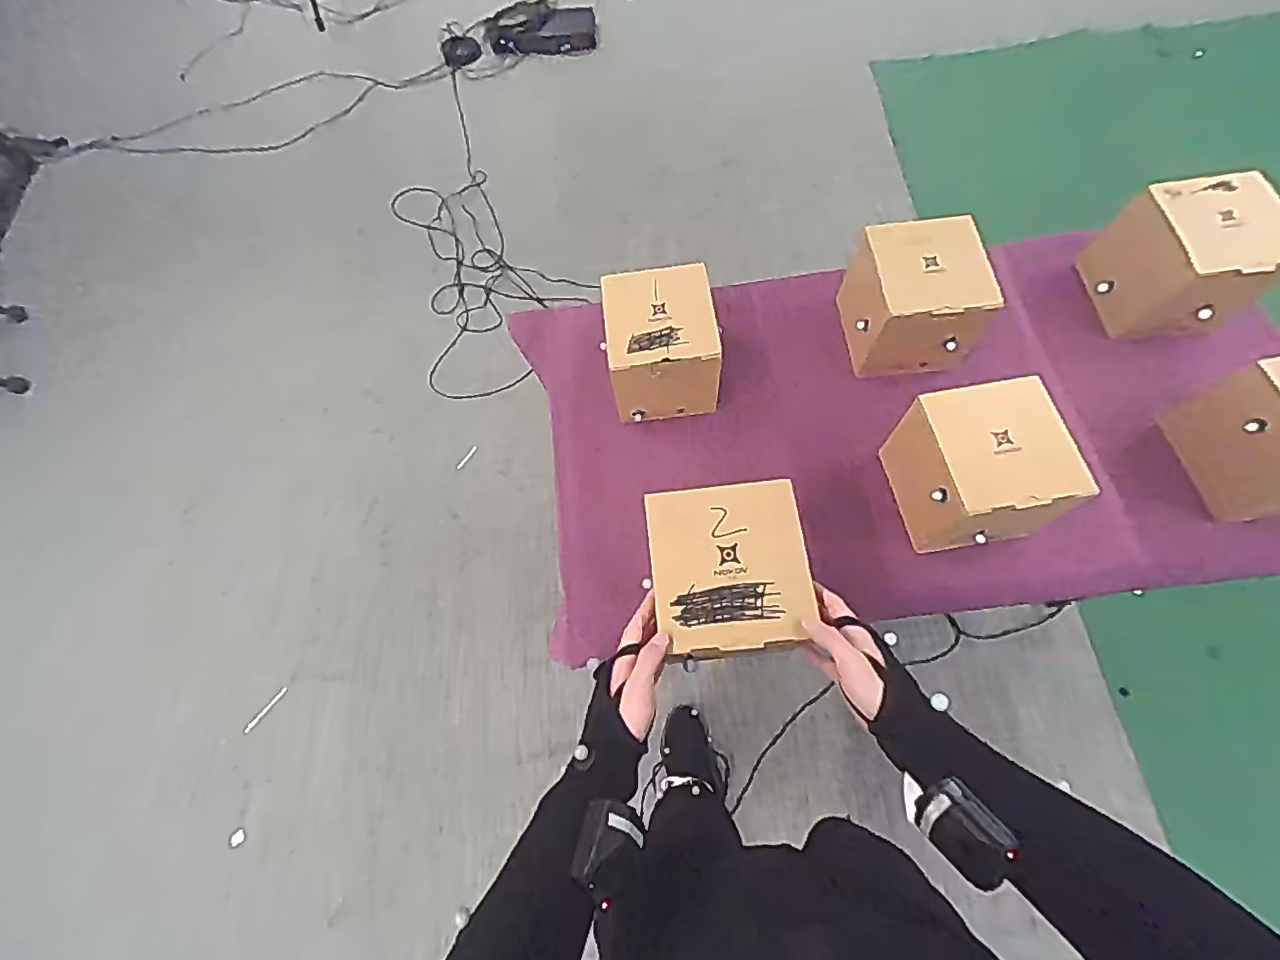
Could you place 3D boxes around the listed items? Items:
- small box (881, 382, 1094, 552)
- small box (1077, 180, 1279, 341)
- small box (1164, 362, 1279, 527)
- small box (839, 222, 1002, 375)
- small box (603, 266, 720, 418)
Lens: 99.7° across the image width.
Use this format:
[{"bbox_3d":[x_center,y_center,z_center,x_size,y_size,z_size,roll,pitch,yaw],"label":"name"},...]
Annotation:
[{"bbox_3d":[0.469,-0.012,0.767,0.168,0.176,0.179,-9,67,0],"label":"small box"},{"bbox_3d":[0.864,-0.339,0.868,0.168,0.176,0.179,-6,70,2],"label":"small box"},{"bbox_3d":[0.898,-0.051,0.744,0.168,0.176,0.179,-8,66,3],"label":"small box"},{"bbox_3d":[0.441,-0.285,0.883,0.168,0.176,0.179,-4,67,2],"label":"small box"},{"bbox_3d":[0.035,-0.214,0.882,0.168,0.176,0.179,-7,67,1],"label":"small box"}]
